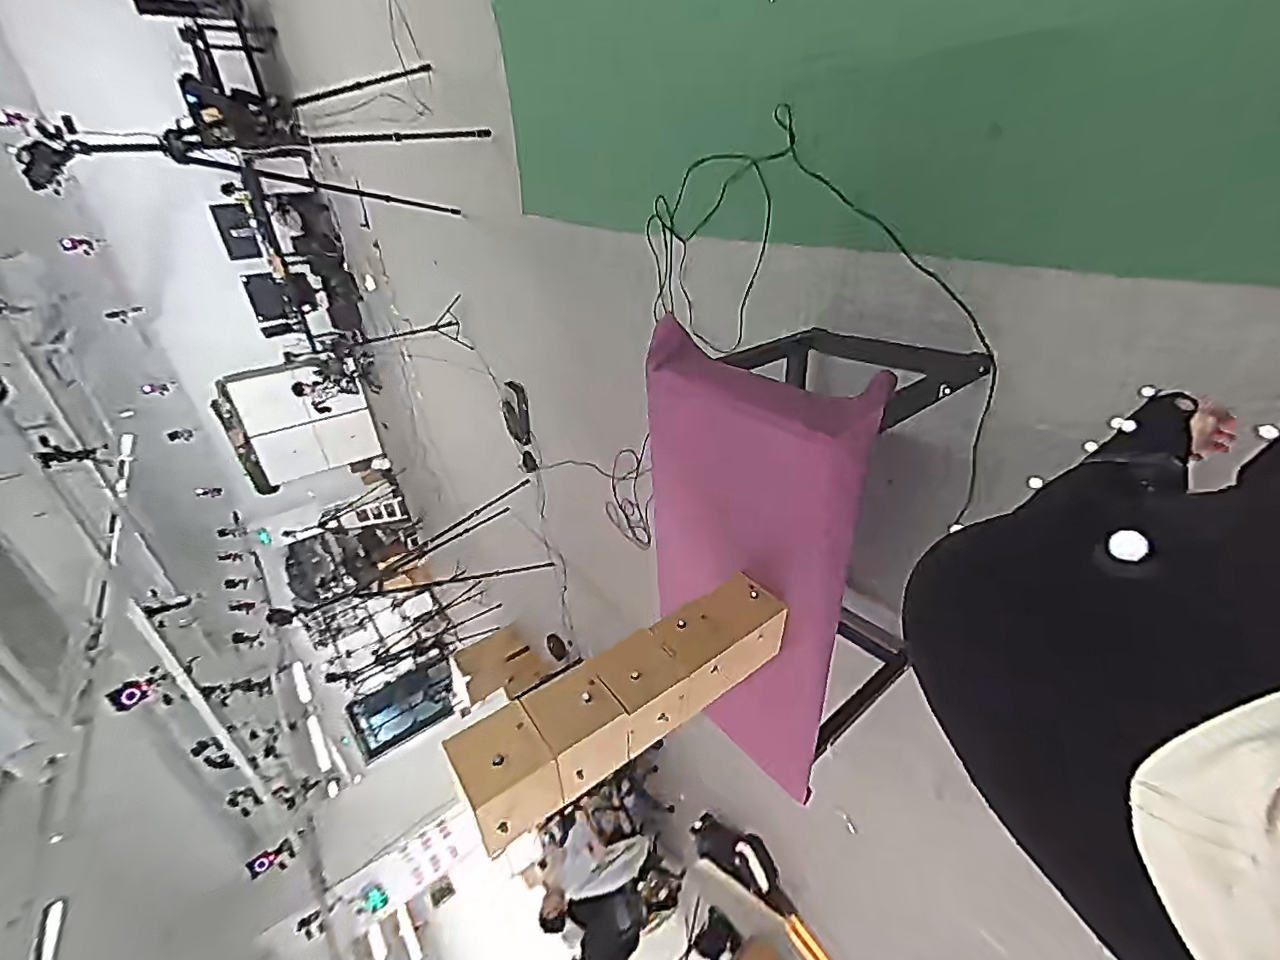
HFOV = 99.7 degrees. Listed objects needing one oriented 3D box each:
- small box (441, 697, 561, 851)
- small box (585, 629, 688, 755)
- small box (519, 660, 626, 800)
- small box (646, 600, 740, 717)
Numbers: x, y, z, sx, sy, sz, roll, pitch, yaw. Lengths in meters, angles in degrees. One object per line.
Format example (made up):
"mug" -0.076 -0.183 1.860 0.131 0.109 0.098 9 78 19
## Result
"small box" -0.272 0.574 1.078 0.168 0.176 0.179 35 136 43
"small box" -0.007 0.477 1.244 0.179 0.176 0.168 36 136 42
"small box" -0.140 0.529 1.162 0.168 0.176 0.179 34 135 44
"small box" 0.127 0.428 1.323 0.168 0.176 0.179 36 137 42
